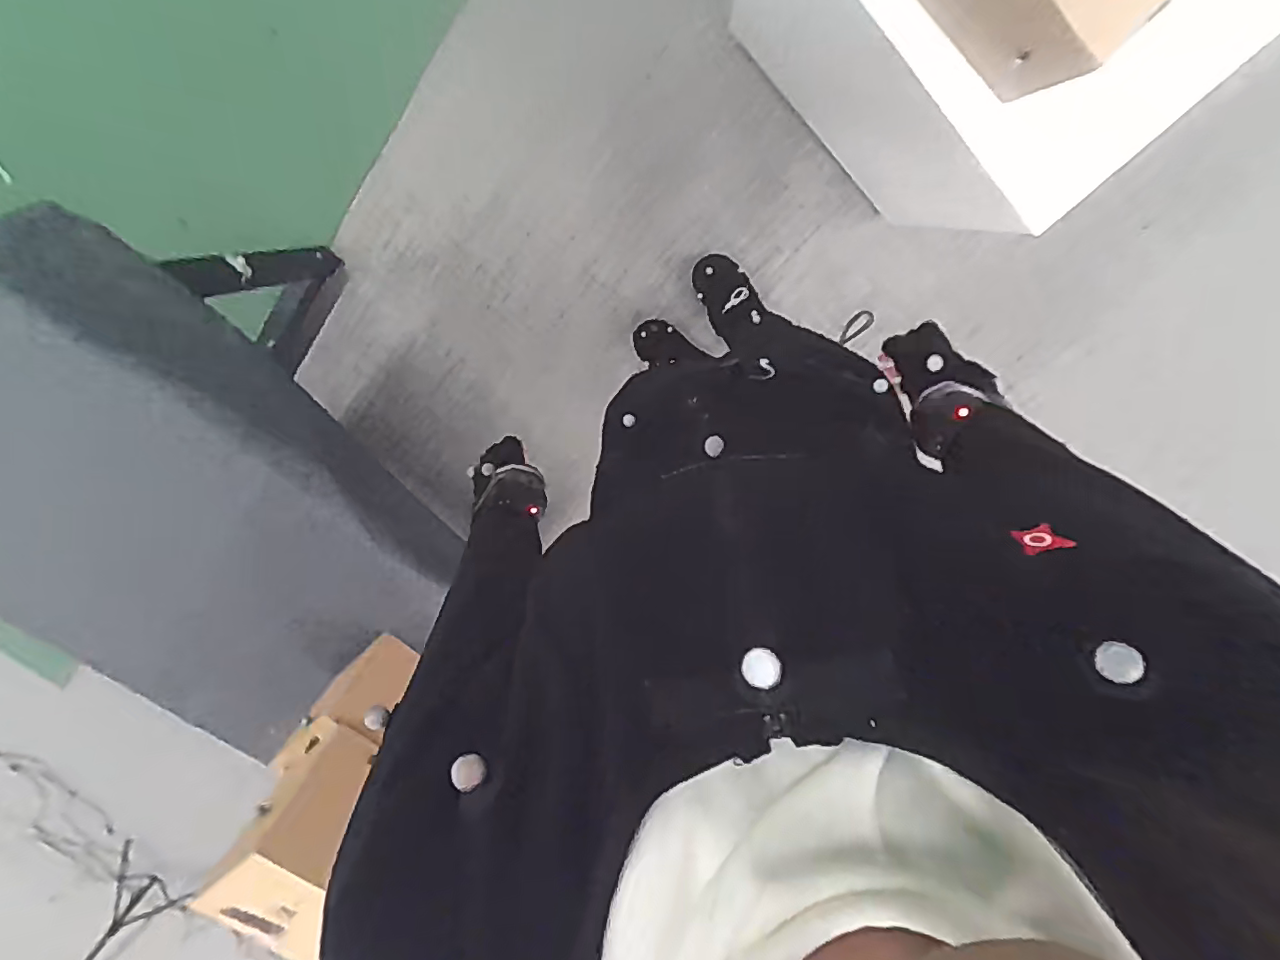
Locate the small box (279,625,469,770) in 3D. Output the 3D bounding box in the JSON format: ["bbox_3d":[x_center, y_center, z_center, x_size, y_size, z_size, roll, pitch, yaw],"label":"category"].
[{"bbox_3d":[-0.404,0.365,0.852,0.168,0.176,0.179,-40,107,22],"label":"small box"}]

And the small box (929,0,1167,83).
[{"bbox_3d":[0.386,-0.495,0.478,0.179,0.176,0.168,38,113,-11],"label":"small box"}]

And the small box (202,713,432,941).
[{"bbox_3d":[-0.407,0.448,0.708,0.168,0.176,0.179,40,116,-13],"label":"small box"}]
